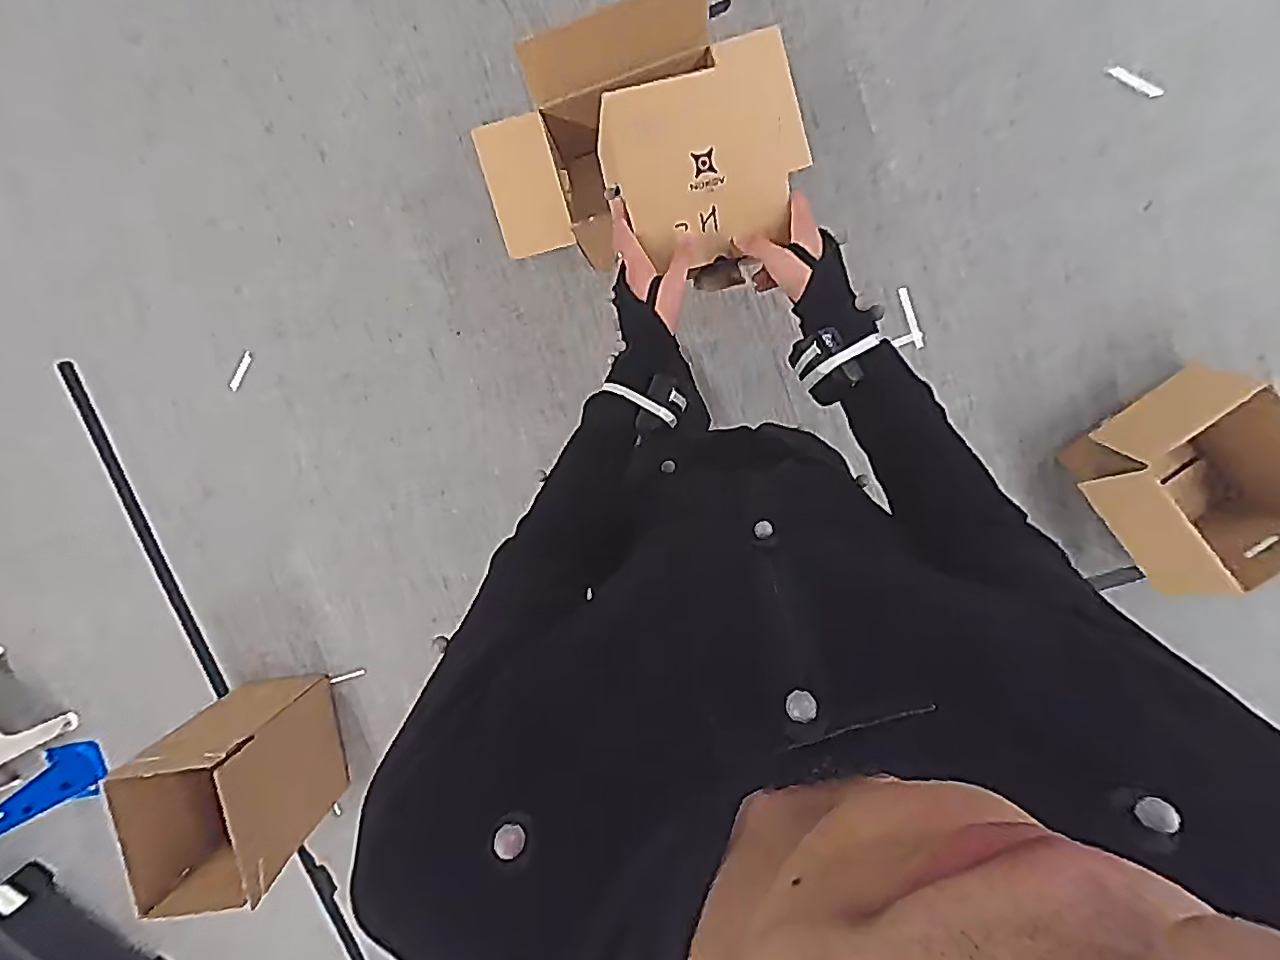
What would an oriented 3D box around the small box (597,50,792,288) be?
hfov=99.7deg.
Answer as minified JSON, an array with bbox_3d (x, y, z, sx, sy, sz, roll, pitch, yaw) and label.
[{"bbox_3d":[0.051,-0.328,0.608,0.168,0.176,0.179,-15,106,-2],"label":"small box"}]
